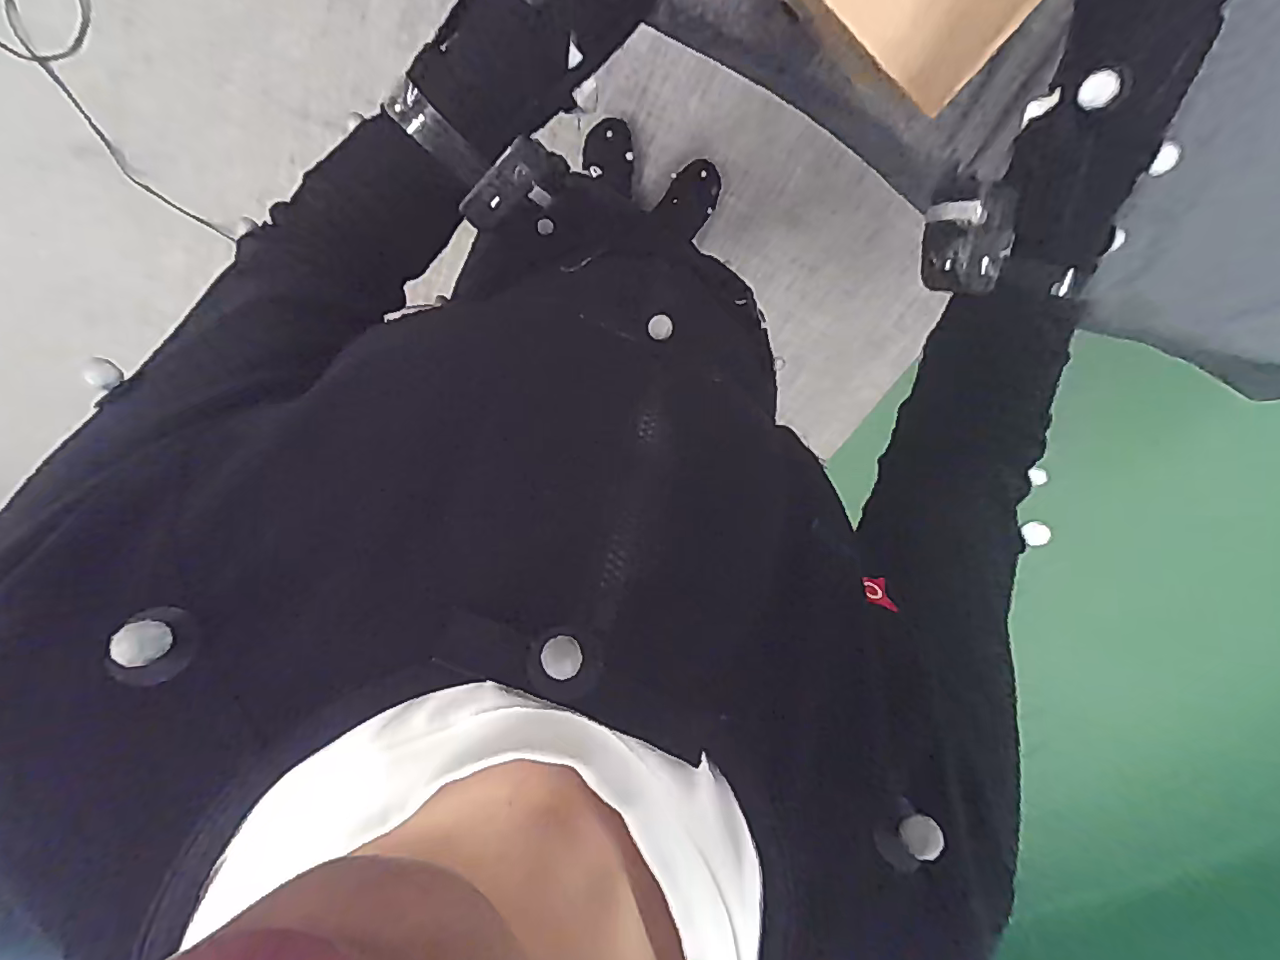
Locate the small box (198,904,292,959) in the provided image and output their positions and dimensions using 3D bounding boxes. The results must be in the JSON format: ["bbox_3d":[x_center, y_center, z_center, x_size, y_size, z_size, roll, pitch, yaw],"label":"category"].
[{"bbox_3d":[-1.084,1.287,1.467,0.179,0.176,0.168,26,123,-12],"label":"small box"}]

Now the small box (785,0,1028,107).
[{"bbox_3d":[0.168,-0.370,0.319,0.168,0.176,0.179,31,127,-19],"label":"small box"}]
